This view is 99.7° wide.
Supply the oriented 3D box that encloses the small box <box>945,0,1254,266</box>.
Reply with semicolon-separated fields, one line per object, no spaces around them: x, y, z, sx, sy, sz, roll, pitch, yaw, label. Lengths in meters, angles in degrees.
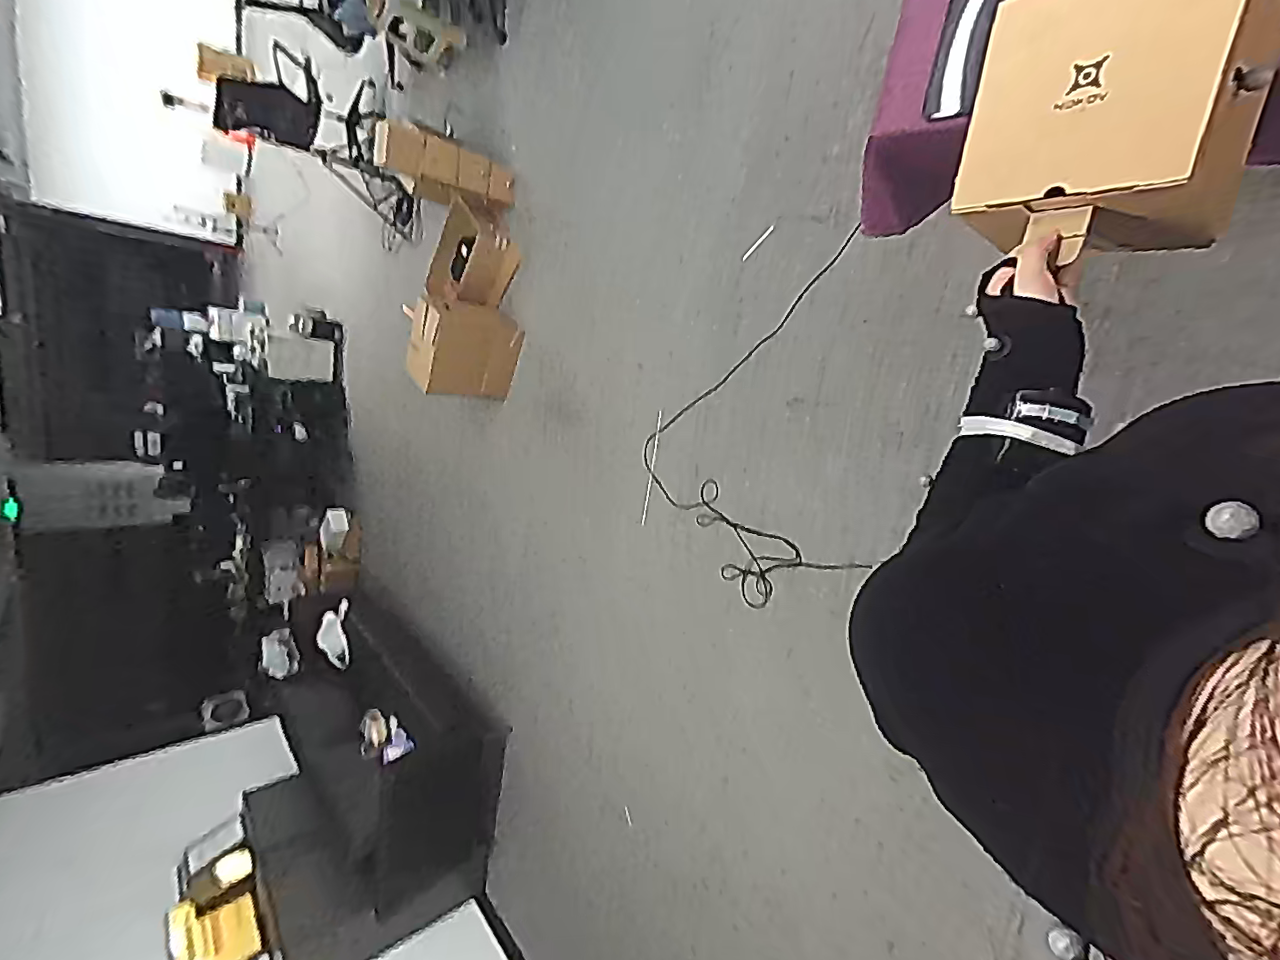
0.416;-0.312;0.495;0.168;0.176;0.179;20;106;49;small box
